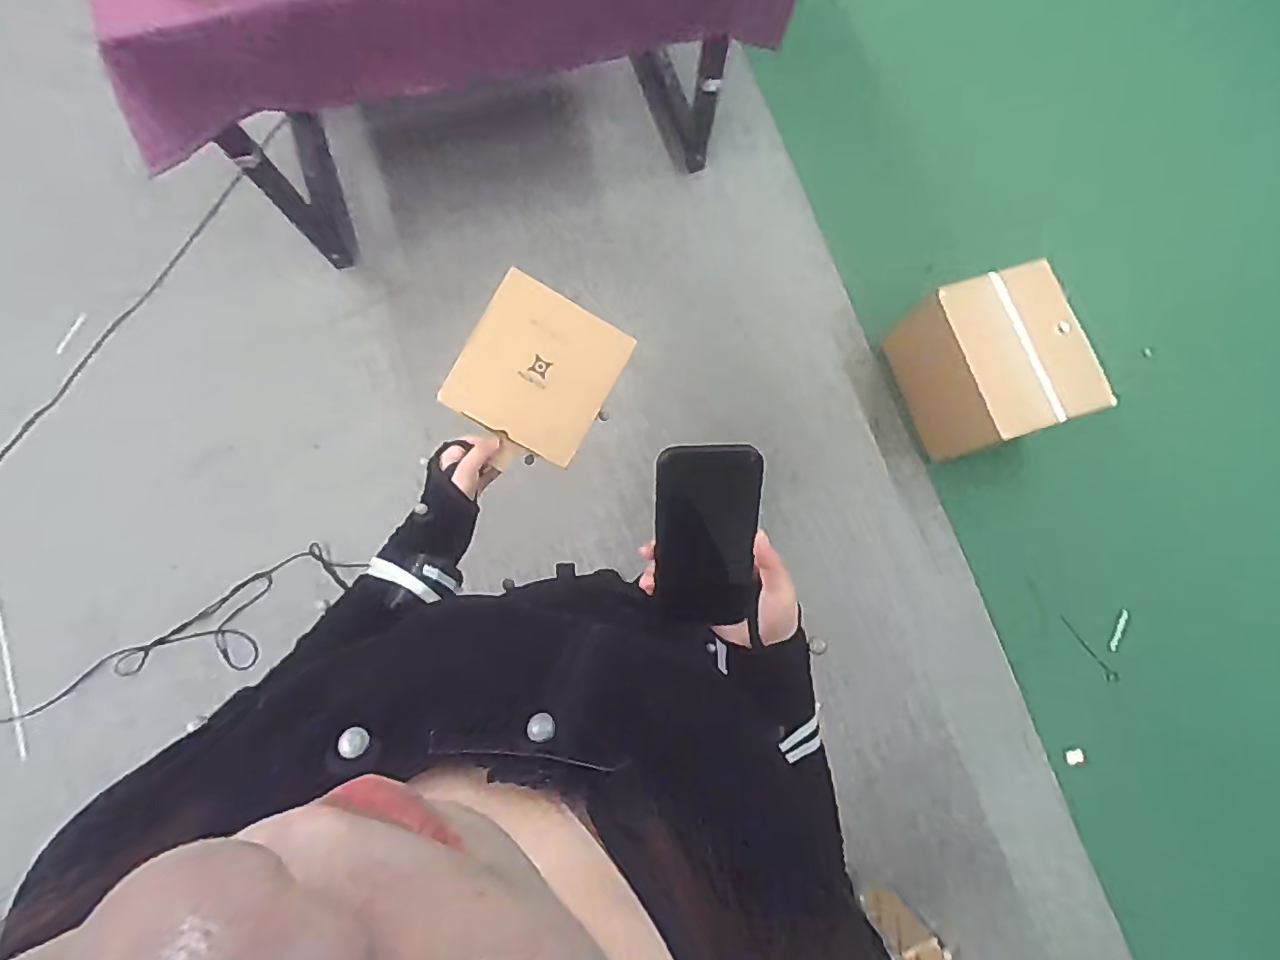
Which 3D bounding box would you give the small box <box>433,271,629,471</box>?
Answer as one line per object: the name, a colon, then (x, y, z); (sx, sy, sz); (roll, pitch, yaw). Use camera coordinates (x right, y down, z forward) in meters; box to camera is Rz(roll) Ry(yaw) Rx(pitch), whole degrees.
small box: (-0.131, -0.124, 0.693); (0.168, 0.176, 0.179); (29, 87, -8)
